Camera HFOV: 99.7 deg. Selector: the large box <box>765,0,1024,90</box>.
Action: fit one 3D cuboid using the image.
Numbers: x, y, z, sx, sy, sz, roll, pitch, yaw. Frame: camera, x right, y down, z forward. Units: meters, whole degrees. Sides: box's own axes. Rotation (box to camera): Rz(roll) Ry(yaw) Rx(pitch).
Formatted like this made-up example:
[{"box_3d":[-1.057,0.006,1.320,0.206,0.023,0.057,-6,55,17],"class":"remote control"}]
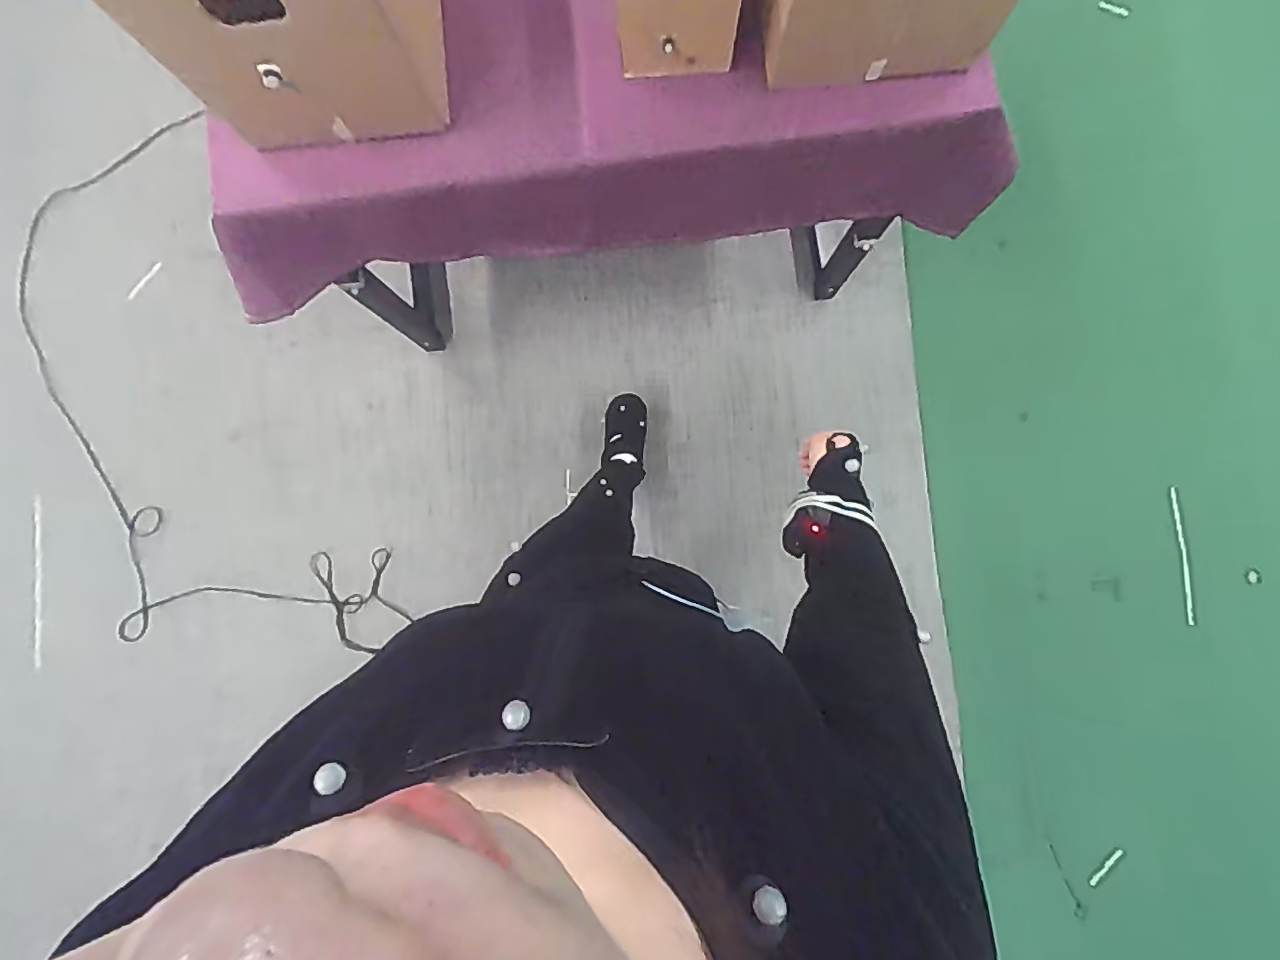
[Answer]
[{"box_3d":[0.340,-0.813,0.693,0.320,0.320,0.408,-4,86,1],"class":"large box"}]
